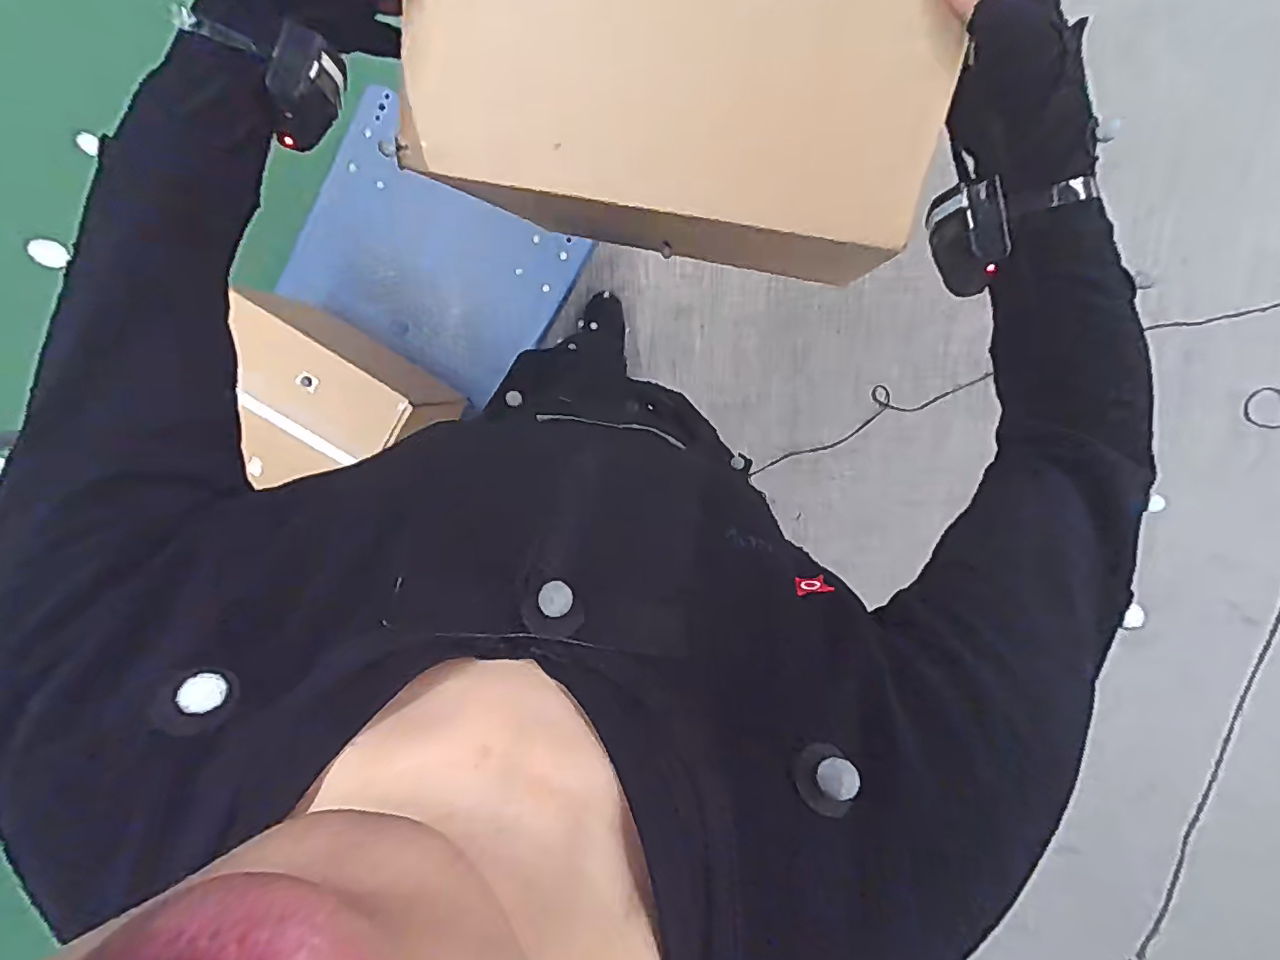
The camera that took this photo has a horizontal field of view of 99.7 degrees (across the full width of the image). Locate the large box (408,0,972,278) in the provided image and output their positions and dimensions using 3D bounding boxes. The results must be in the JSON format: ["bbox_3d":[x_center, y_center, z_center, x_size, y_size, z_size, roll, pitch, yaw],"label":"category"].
[{"bbox_3d":[0.057,-0.392,0.512,0.408,0.320,0.320,14,106,9],"label":"large box"}]
